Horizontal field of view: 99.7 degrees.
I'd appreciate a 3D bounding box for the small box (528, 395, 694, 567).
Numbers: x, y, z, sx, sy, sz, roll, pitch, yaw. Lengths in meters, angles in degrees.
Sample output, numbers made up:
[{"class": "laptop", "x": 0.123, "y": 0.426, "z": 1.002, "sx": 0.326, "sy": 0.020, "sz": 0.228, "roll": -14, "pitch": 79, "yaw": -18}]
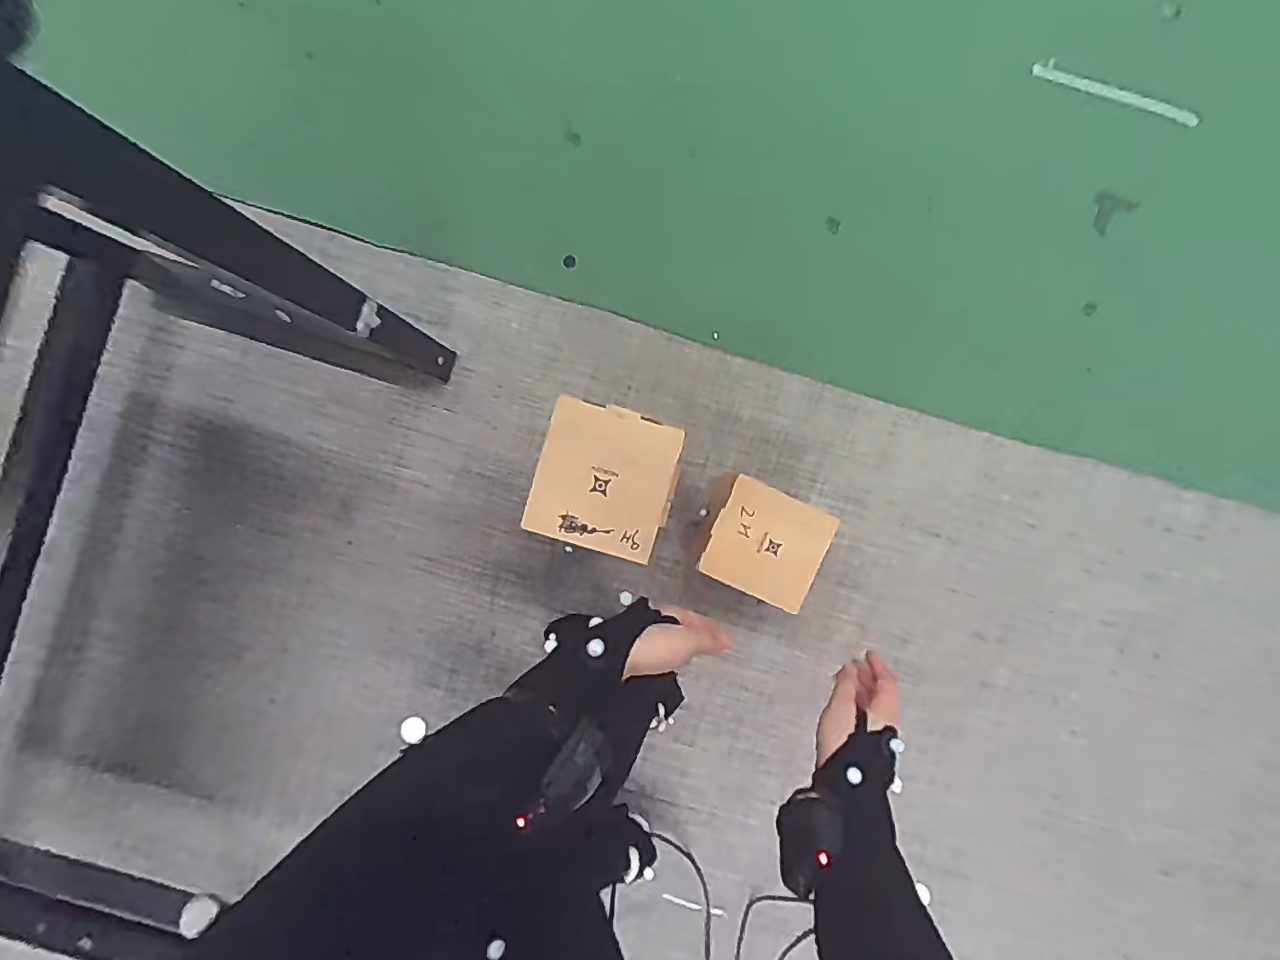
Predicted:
[{"class": "small box", "x": -0.039, "y": 0.001, "z": 0.745, "sx": 0.168, "sy": 0.176, "sz": 0.179, "roll": 18, "pitch": 90, "yaw": -1}]
